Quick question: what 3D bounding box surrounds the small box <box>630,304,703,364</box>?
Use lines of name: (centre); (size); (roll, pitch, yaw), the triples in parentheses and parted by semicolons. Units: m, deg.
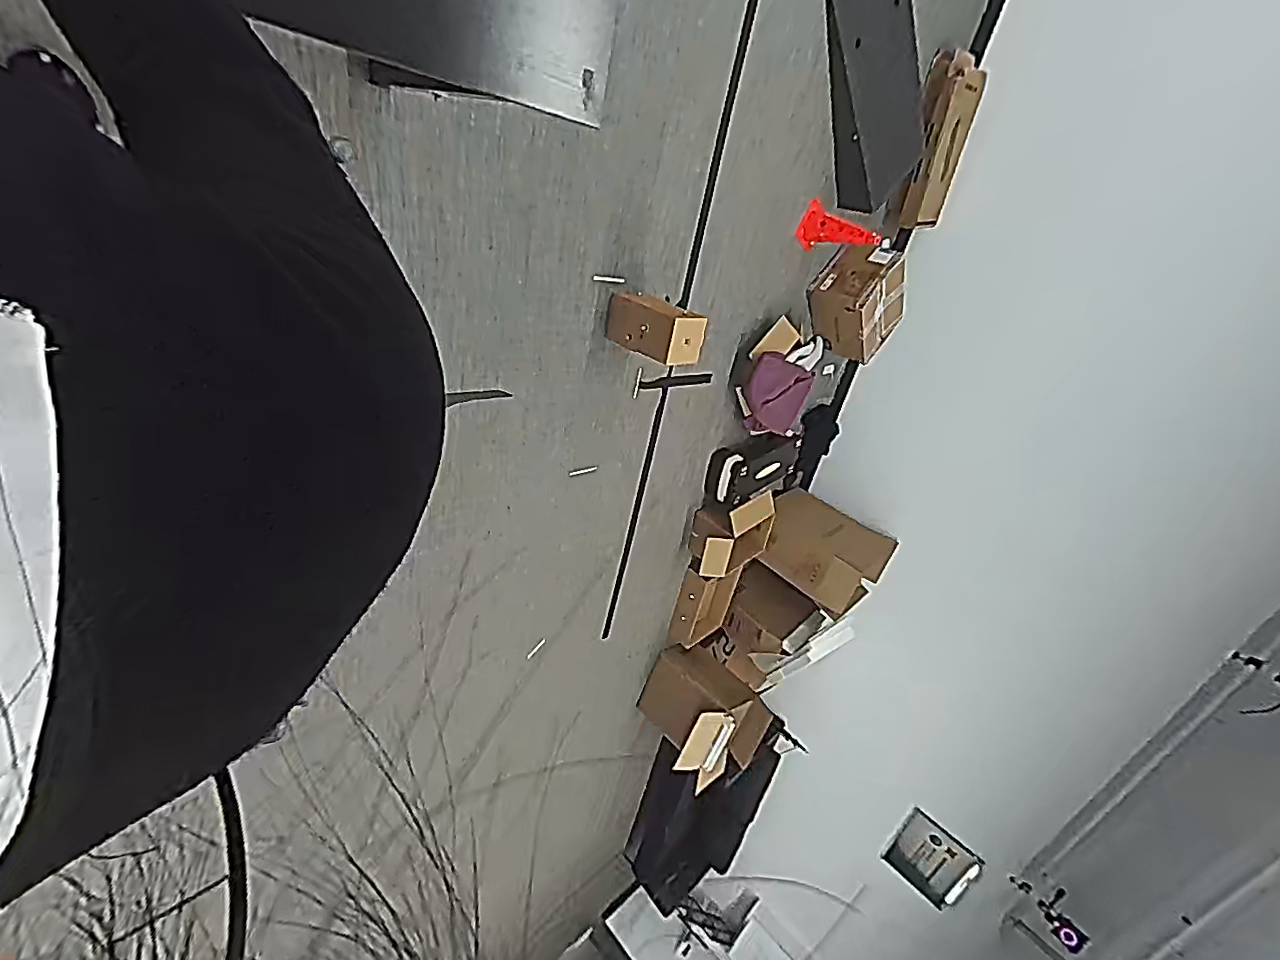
small box: (0.093, -0.525, 1.931); (0.179, 0.176, 0.168); (-16, 128, -42)

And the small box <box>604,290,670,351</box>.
small box: (-0.016, -0.599, 2.027); (0.168, 0.176, 0.179); (-18, 131, -43)
